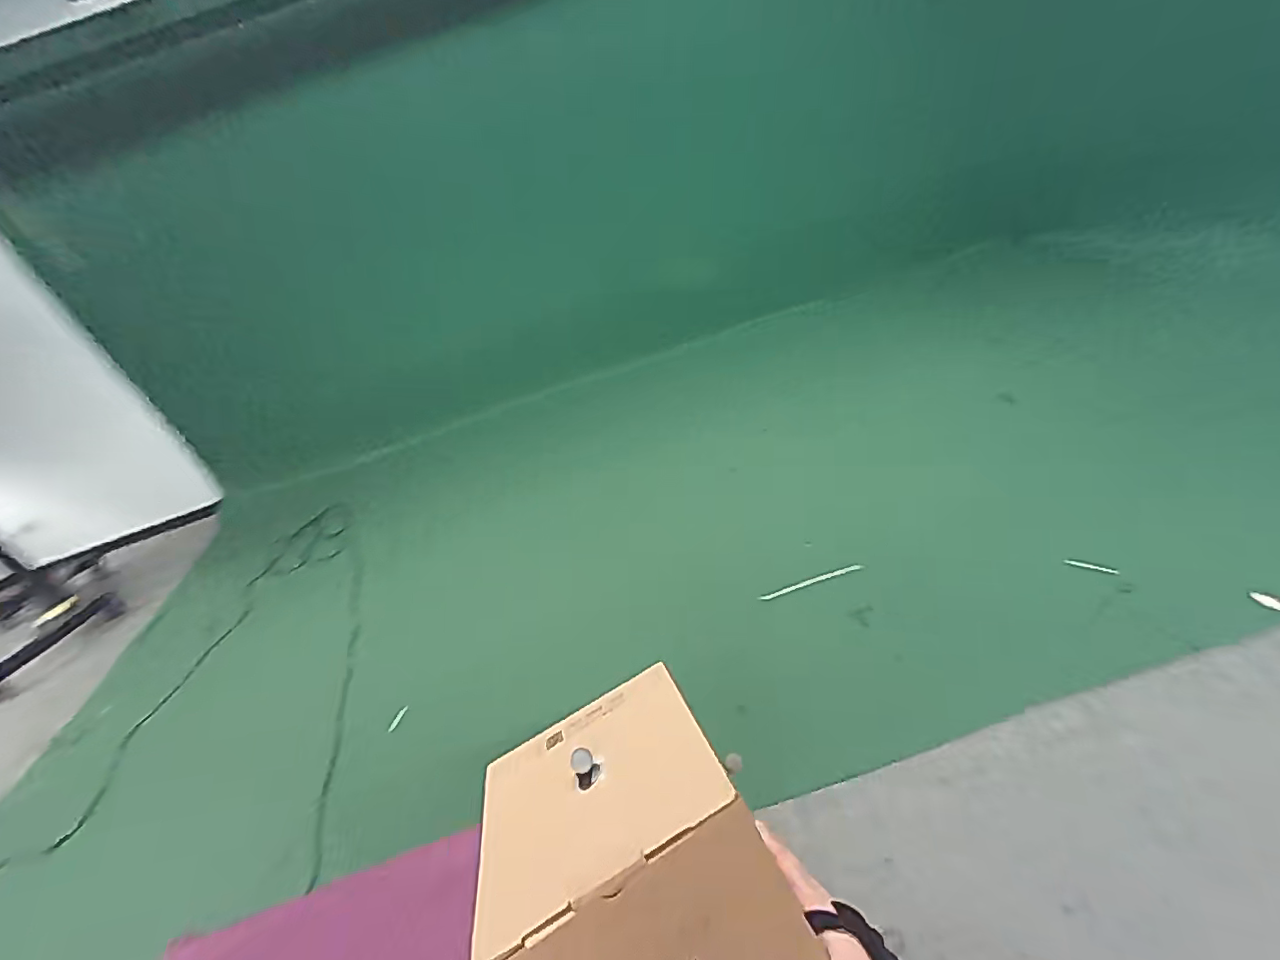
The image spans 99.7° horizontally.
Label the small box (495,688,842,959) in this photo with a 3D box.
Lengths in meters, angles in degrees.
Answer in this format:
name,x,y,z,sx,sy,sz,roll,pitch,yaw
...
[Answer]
name,x,y,z,sx,sy,sz,roll,pitch,yaw
small box,0.015,0.278,0.384,0.168,0.179,0.176,-29,12,-6
